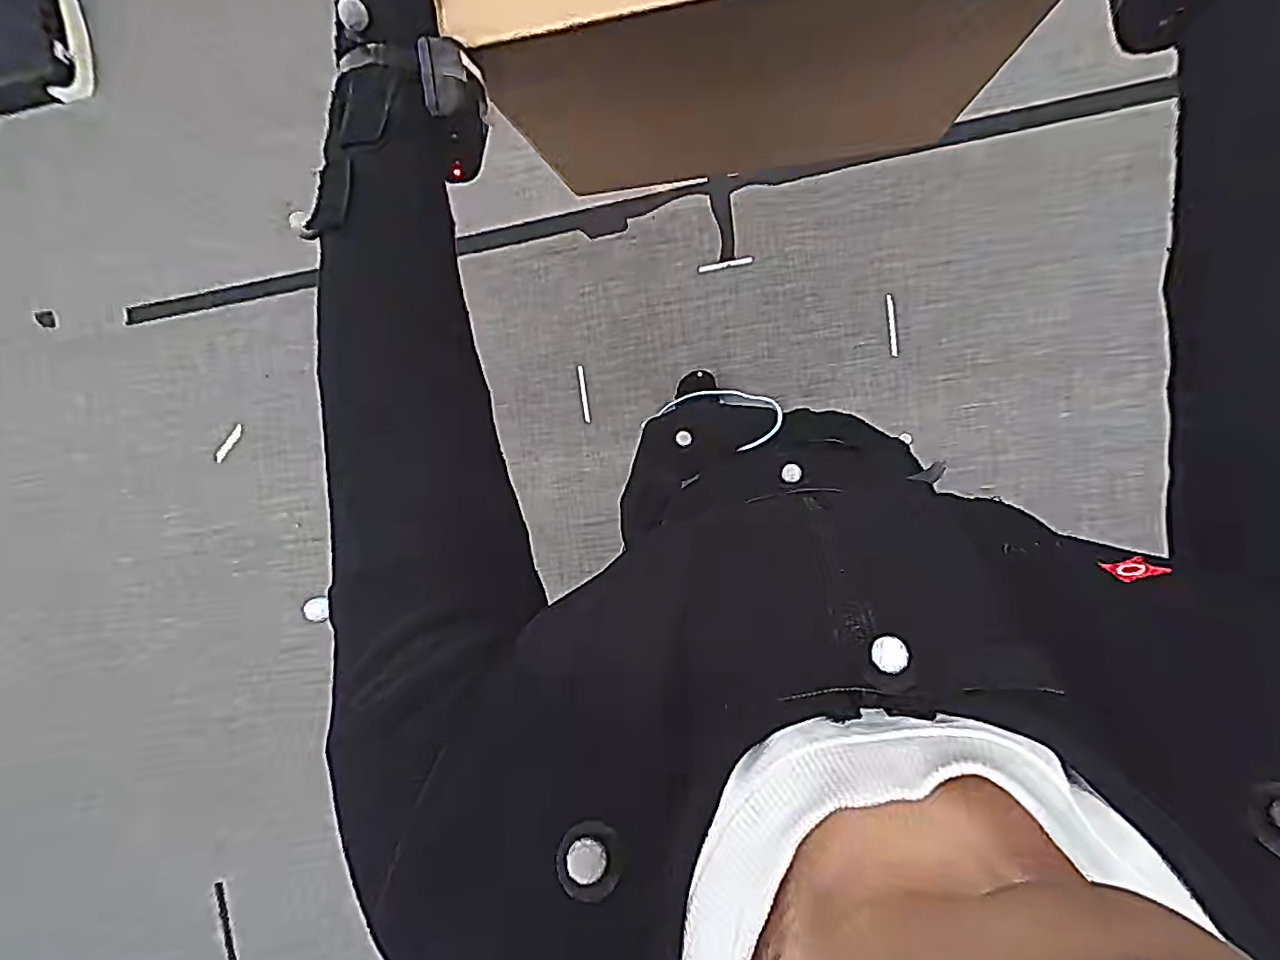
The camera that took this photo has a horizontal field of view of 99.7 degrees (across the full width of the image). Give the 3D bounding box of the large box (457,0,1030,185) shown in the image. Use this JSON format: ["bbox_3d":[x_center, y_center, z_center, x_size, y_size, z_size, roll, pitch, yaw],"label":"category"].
[{"bbox_3d":[0.081,-0.484,0.445,0.408,0.320,0.320,-4,101,9],"label":"large box"}]
